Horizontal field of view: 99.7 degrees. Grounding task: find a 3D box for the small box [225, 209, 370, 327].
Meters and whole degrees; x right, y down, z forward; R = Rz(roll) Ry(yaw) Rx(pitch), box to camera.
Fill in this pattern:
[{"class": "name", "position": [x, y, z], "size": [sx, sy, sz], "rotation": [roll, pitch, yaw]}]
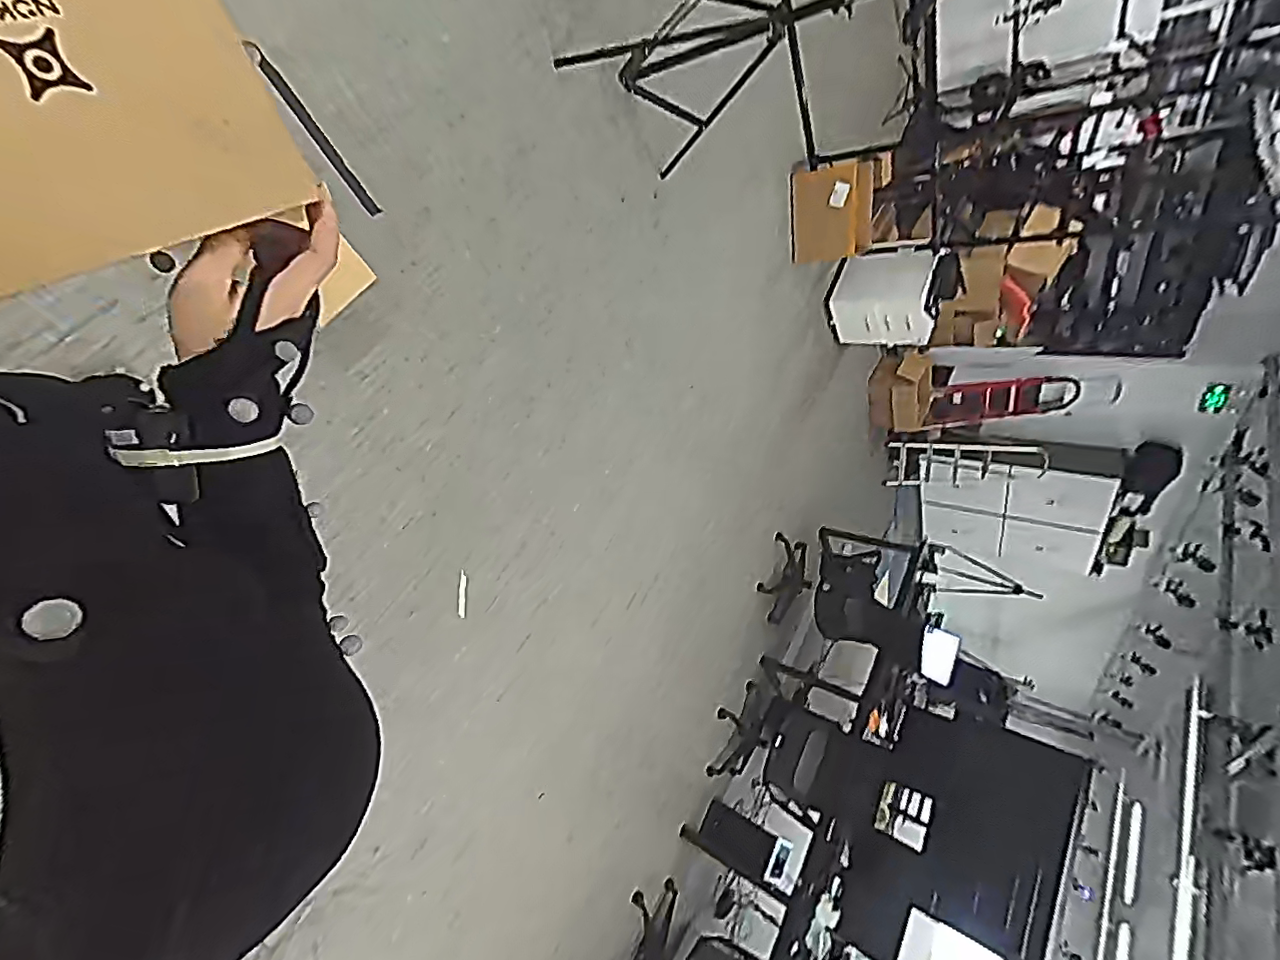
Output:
[{"class": "small box", "position": [-0.736, -0.451, 1.161], "size": [0.179, 0.176, 0.168], "rotation": [-57, 139, -24]}]
